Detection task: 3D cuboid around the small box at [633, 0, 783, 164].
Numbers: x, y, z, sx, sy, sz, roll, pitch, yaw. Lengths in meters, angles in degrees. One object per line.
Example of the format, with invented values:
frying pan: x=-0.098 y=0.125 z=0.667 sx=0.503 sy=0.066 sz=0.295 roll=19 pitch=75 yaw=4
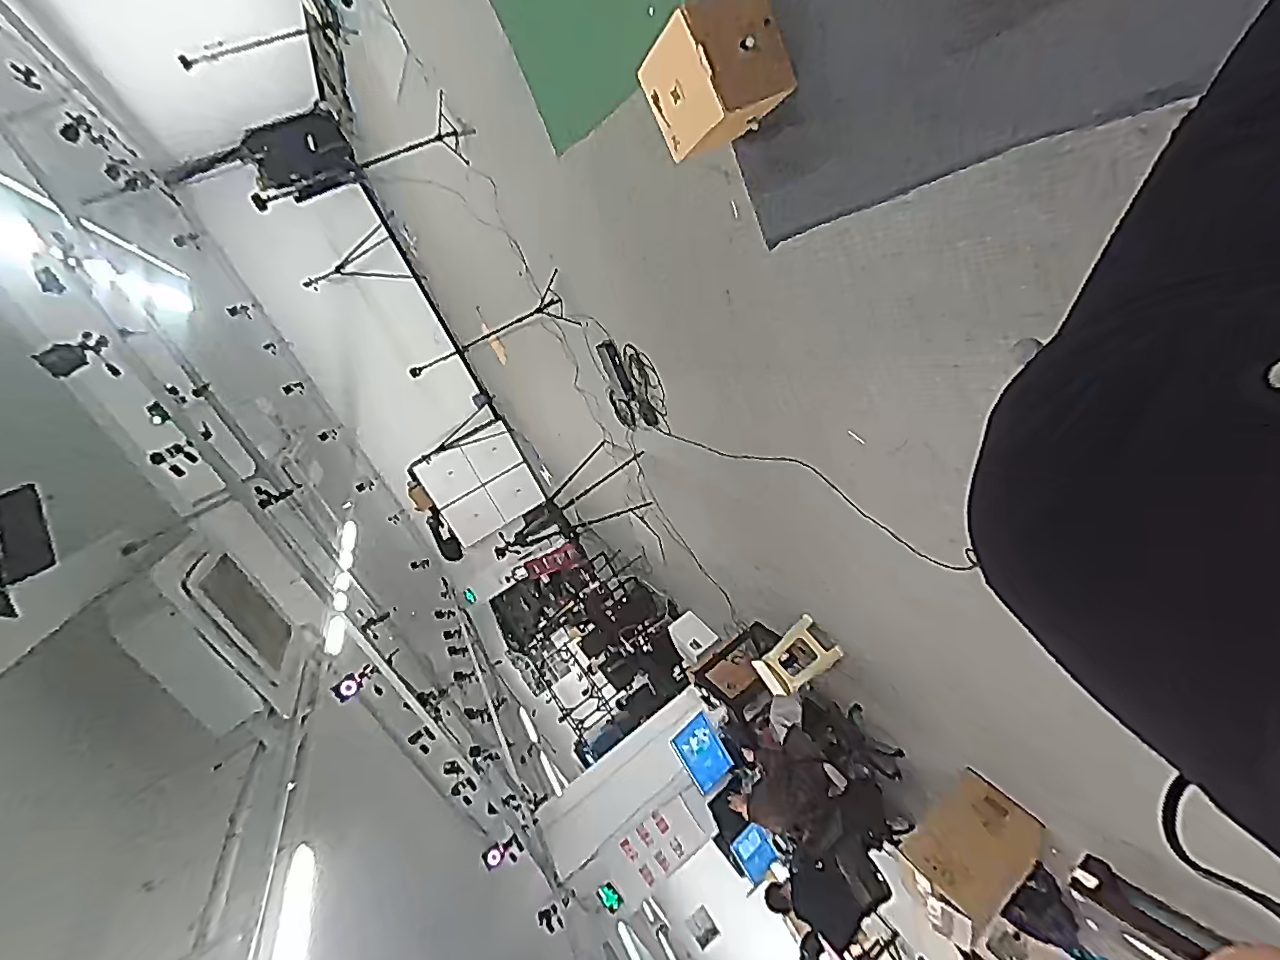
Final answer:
small box: x=0.123 y=-0.695 z=0.939 sx=0.168 sy=0.176 sz=0.179 roll=62 pitch=161 yaw=-16
